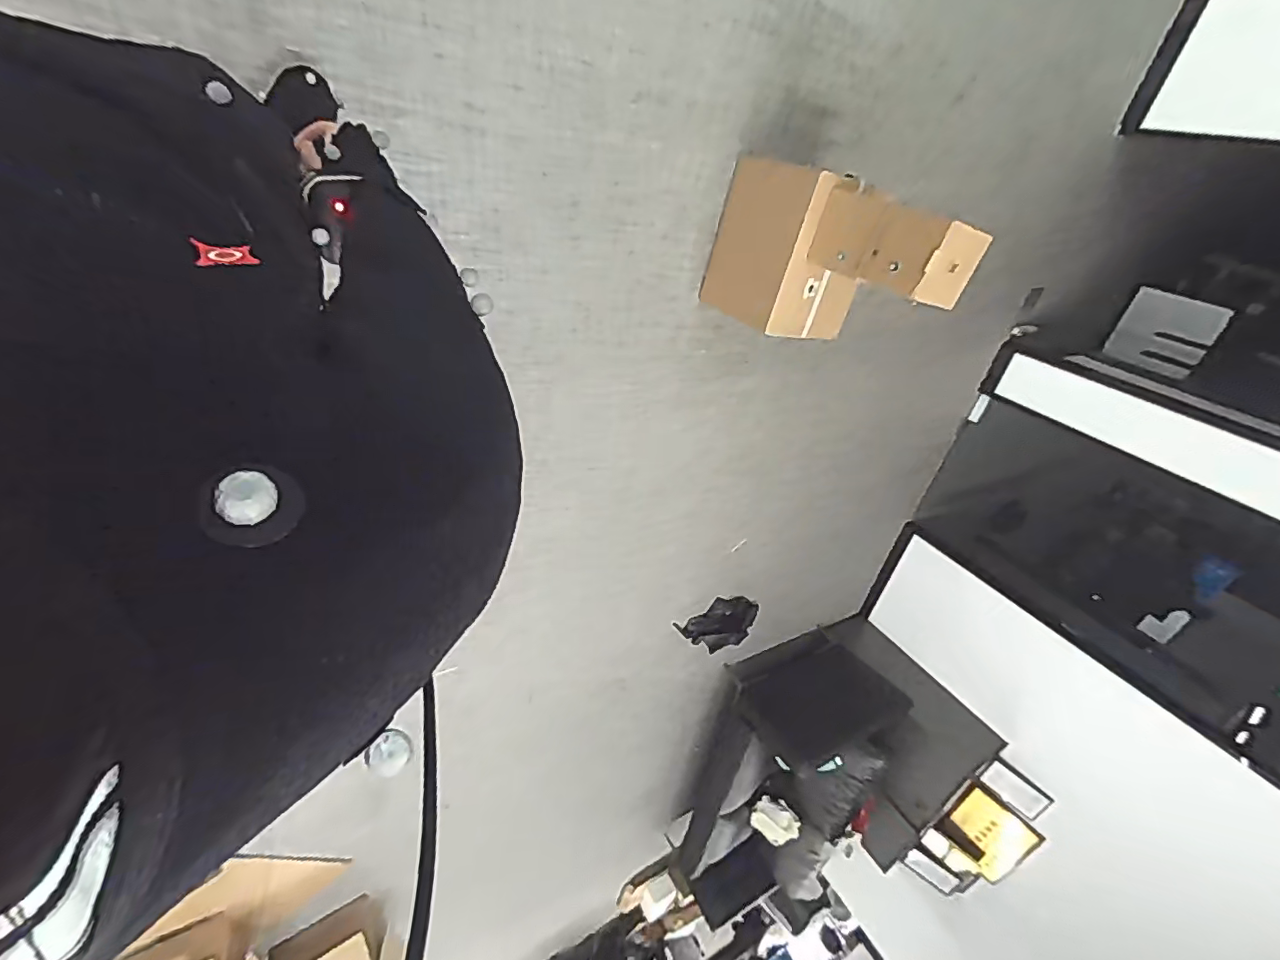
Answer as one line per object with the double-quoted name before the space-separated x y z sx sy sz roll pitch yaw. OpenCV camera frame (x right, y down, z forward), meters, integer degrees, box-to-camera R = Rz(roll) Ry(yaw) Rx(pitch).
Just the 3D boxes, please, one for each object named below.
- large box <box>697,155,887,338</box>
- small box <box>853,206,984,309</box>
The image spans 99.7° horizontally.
"large box" 0.413 -0.660 1.552 0.320 0.320 0.408 -6 127 -33
"small box" 0.623 -0.506 1.227 0.179 0.176 0.168 -5 128 -36
